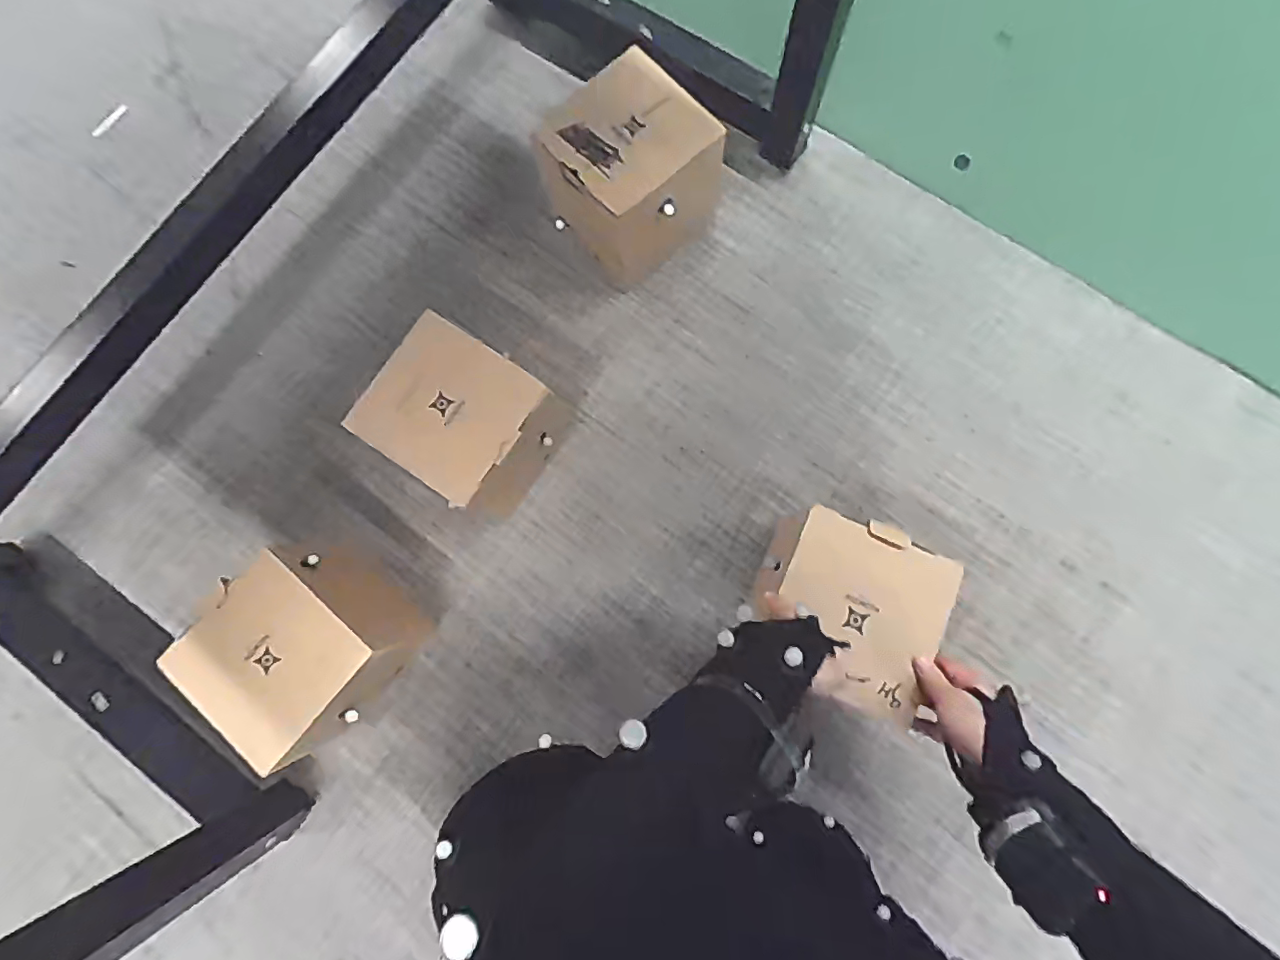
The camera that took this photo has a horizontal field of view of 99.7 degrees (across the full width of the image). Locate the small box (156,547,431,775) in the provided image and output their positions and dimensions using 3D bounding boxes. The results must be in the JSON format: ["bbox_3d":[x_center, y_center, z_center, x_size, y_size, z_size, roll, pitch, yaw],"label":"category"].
[{"bbox_3d":[-0.386,0.194,0.638,0.179,0.176,0.168,40,85,8],"label":"small box"}]

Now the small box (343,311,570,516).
[{"bbox_3d":[-0.208,-0.067,0.669,0.179,0.176,0.168,33,83,8],"label":"small box"}]

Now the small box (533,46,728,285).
[{"bbox_3d":[-0.008,-0.398,0.713,0.179,0.176,0.168,-41,82,-6],"label":"small box"}]
